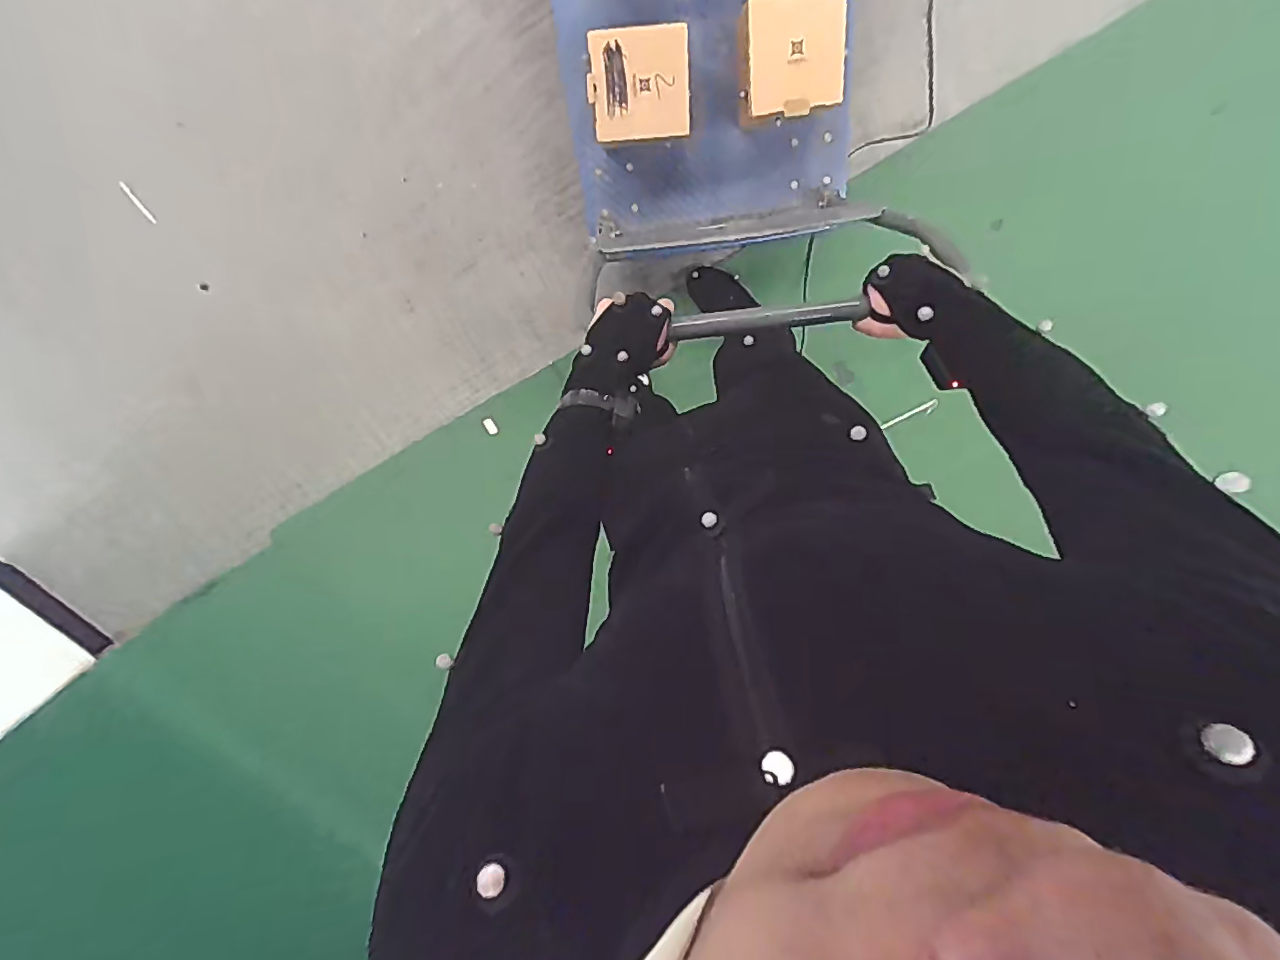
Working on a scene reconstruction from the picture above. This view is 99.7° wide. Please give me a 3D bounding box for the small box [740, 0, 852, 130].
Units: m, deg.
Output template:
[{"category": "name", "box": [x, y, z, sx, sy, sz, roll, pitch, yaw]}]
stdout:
[{"category": "small box", "box": [0.282, -0.774, 1.009, 0.168, 0.176, 0.179, -5, 119, 5]}]
